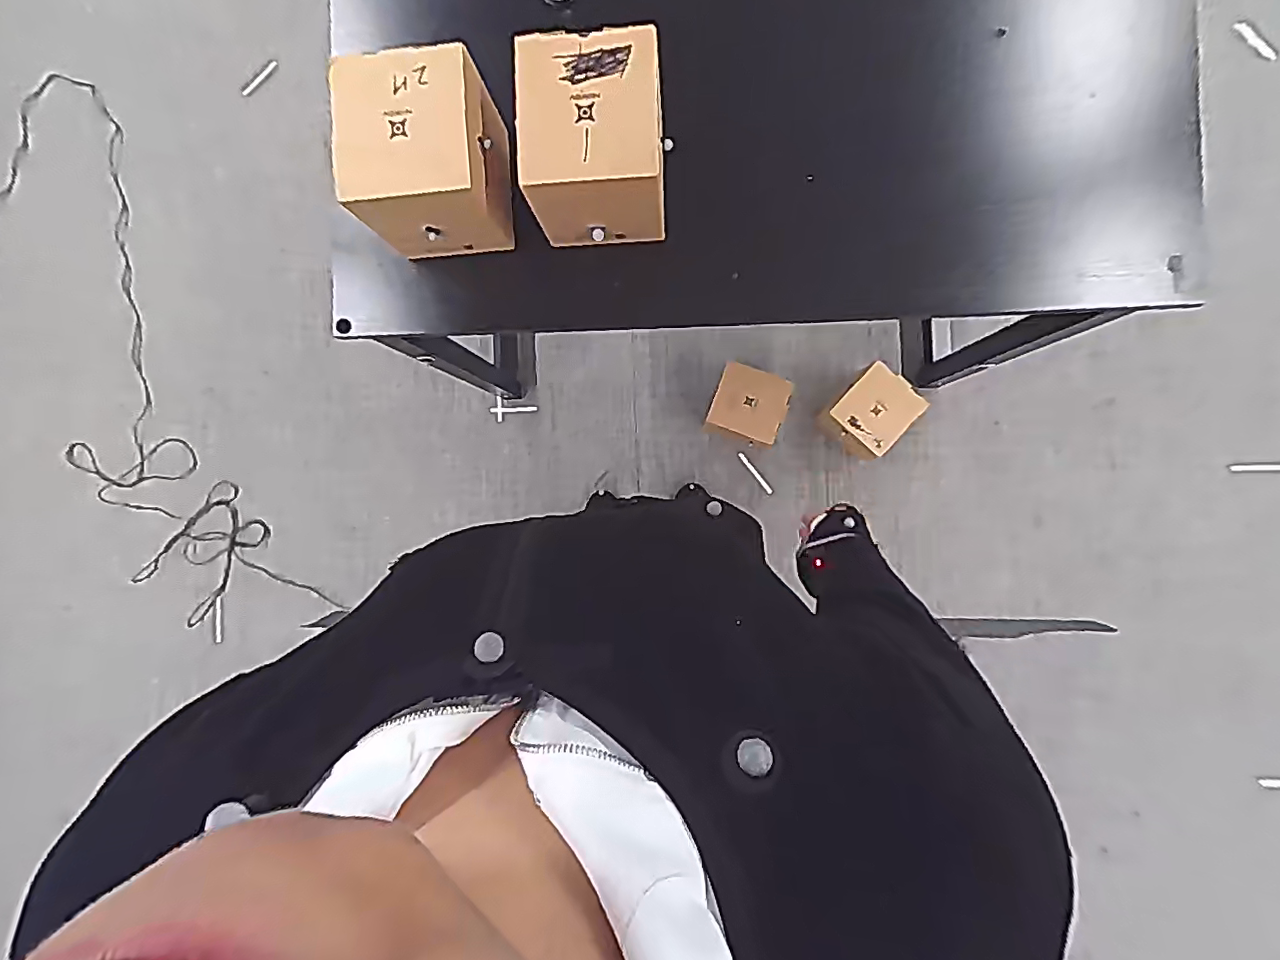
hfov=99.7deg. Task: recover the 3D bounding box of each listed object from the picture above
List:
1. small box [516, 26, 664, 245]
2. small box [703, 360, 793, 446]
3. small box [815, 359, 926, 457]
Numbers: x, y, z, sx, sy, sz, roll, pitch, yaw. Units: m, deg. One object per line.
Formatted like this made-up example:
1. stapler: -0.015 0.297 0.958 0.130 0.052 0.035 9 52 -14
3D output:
1. small box: -0.056 -0.428 0.698 0.168 0.176 0.179 -1 90 5
2. small box: 0.273 -0.192 1.404 0.179 0.176 0.168 20 91 5
3. small box: 0.575 -0.175 1.377 0.168 0.176 0.179 42 93 4
